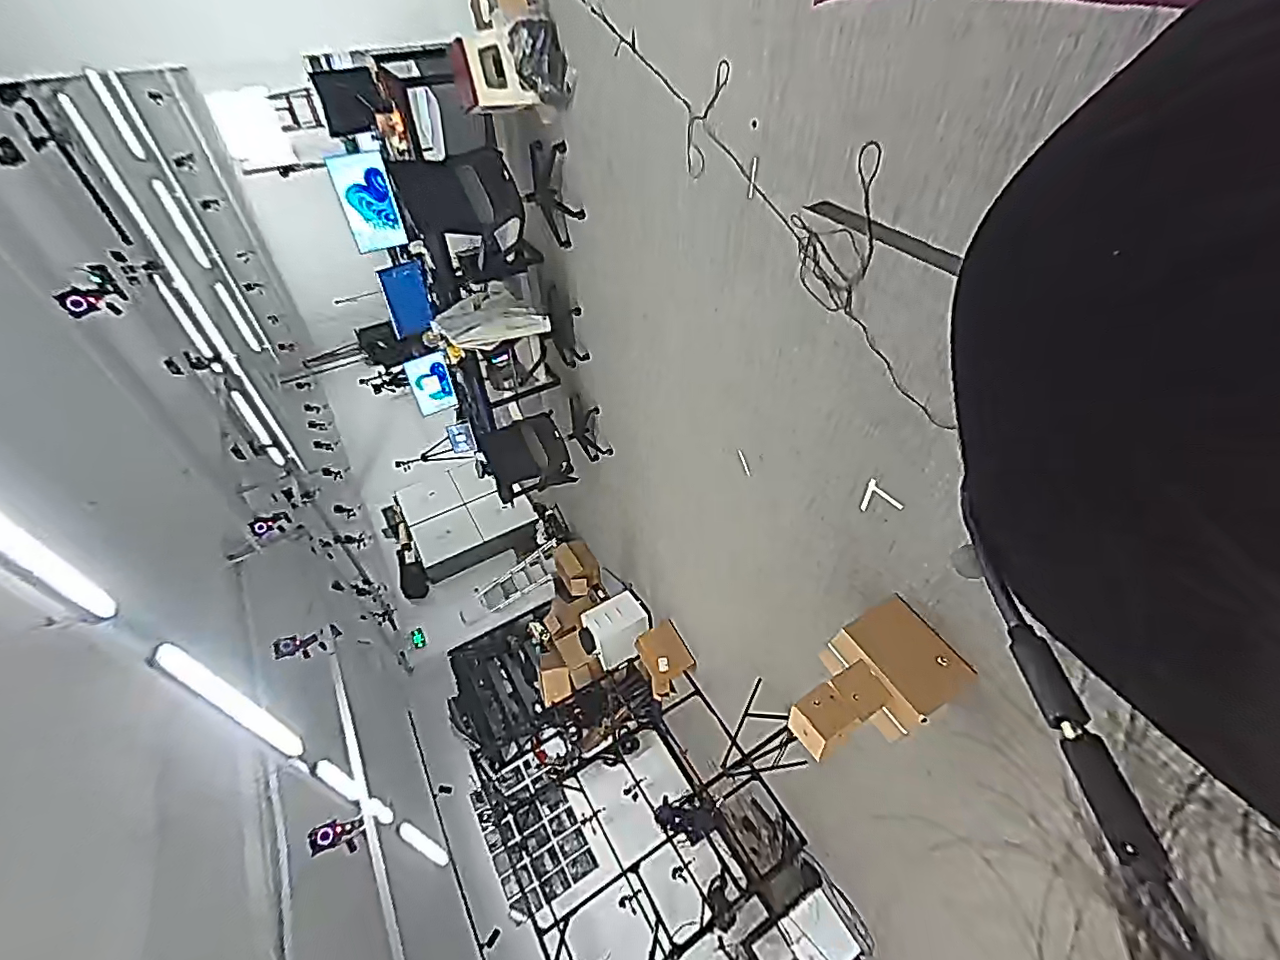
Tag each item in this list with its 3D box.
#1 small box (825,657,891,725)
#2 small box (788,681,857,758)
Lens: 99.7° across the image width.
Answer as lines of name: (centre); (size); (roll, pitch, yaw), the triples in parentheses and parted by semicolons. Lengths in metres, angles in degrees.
small box: (0.816, 0.810, 2.064); (0.179, 0.176, 0.168); (54, 156, 29)
small box: (0.680, 0.886, 2.014); (0.168, 0.176, 0.179); (46, 152, 43)
